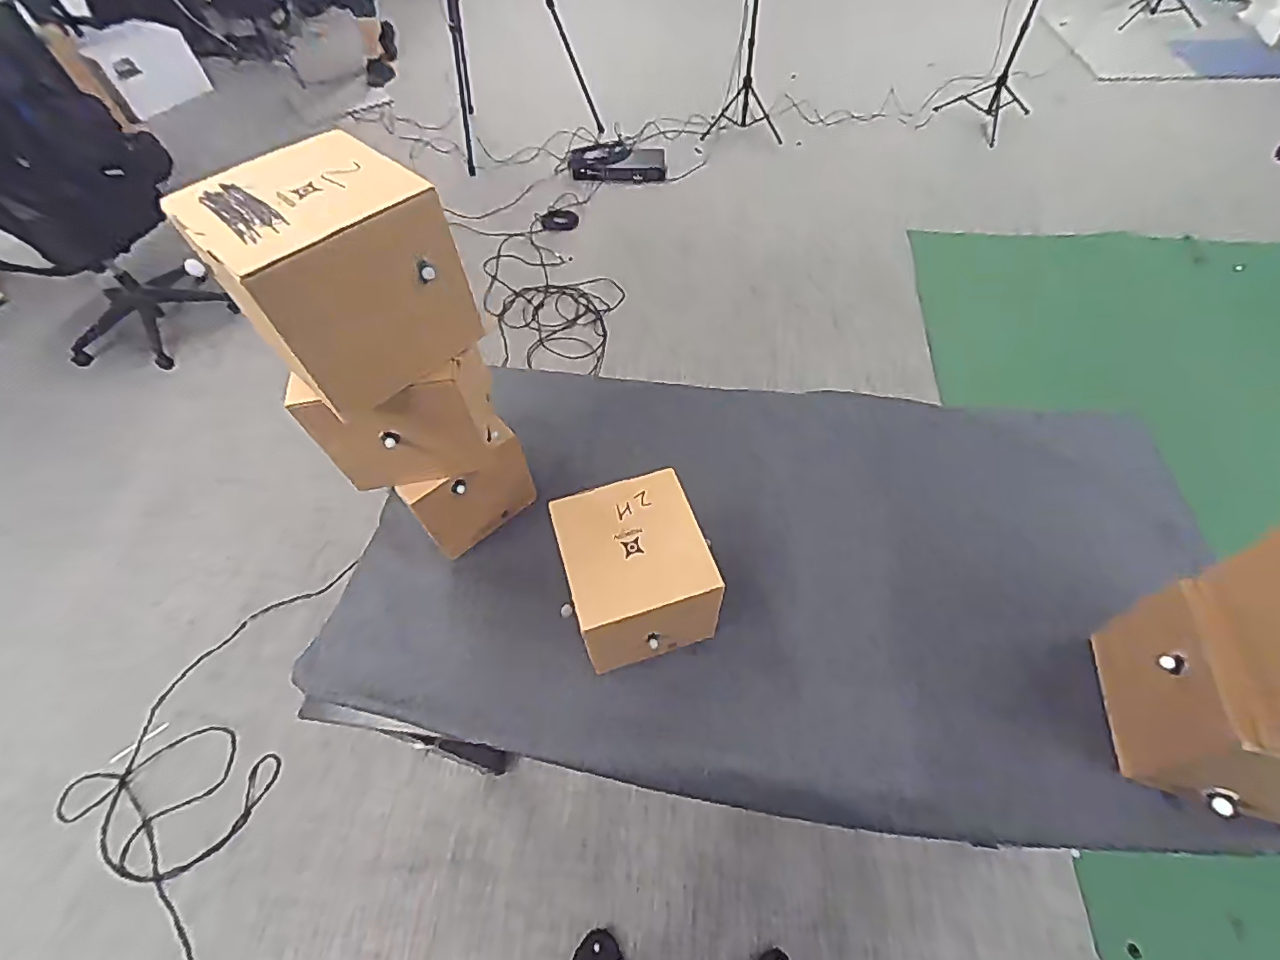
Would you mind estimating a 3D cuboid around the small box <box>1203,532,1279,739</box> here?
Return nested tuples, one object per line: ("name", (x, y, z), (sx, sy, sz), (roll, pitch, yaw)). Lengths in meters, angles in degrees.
("small box", (0.640, 0.139, 0.442), (0.168, 0.176, 0.179), (9, 52, 12))

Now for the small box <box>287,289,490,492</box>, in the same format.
("small box", (-0.291, -0.105, 0.673), (0.179, 0.176, 0.168), (-11, 56, -3))

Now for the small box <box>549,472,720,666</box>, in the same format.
("small box", (-0.007, 0.123, 0.697), (0.168, 0.176, 0.179), (-16, 55, -8))

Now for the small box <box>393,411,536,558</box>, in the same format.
("small box", (-0.282, -0.016, 0.811), (0.168, 0.176, 0.179), (-38, 62, -20))

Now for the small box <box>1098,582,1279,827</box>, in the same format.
("small box", (0.634, 0.238, 0.571), (0.168, 0.176, 0.179), (11, 54, 13))
